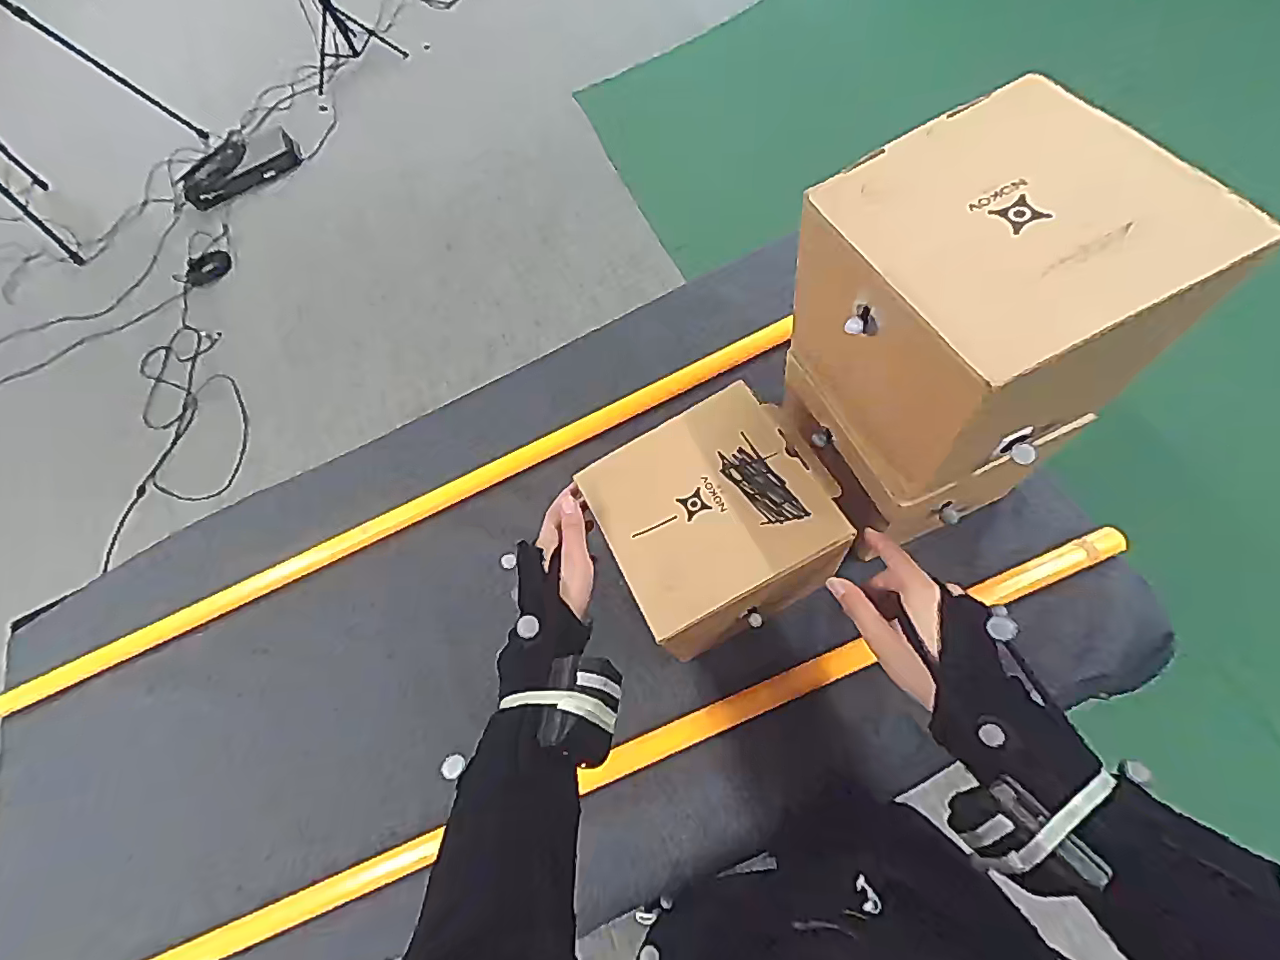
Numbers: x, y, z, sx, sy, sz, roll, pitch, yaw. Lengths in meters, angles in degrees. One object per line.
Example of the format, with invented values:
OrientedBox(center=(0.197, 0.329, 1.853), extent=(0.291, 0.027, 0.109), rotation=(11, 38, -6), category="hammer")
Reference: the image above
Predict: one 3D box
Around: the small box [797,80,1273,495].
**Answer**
OrientedBox(center=(0.225, -0.119, 0.377), extent=(0.168, 0.176, 0.179), rotation=(-28, 64, 0), category="small box")
